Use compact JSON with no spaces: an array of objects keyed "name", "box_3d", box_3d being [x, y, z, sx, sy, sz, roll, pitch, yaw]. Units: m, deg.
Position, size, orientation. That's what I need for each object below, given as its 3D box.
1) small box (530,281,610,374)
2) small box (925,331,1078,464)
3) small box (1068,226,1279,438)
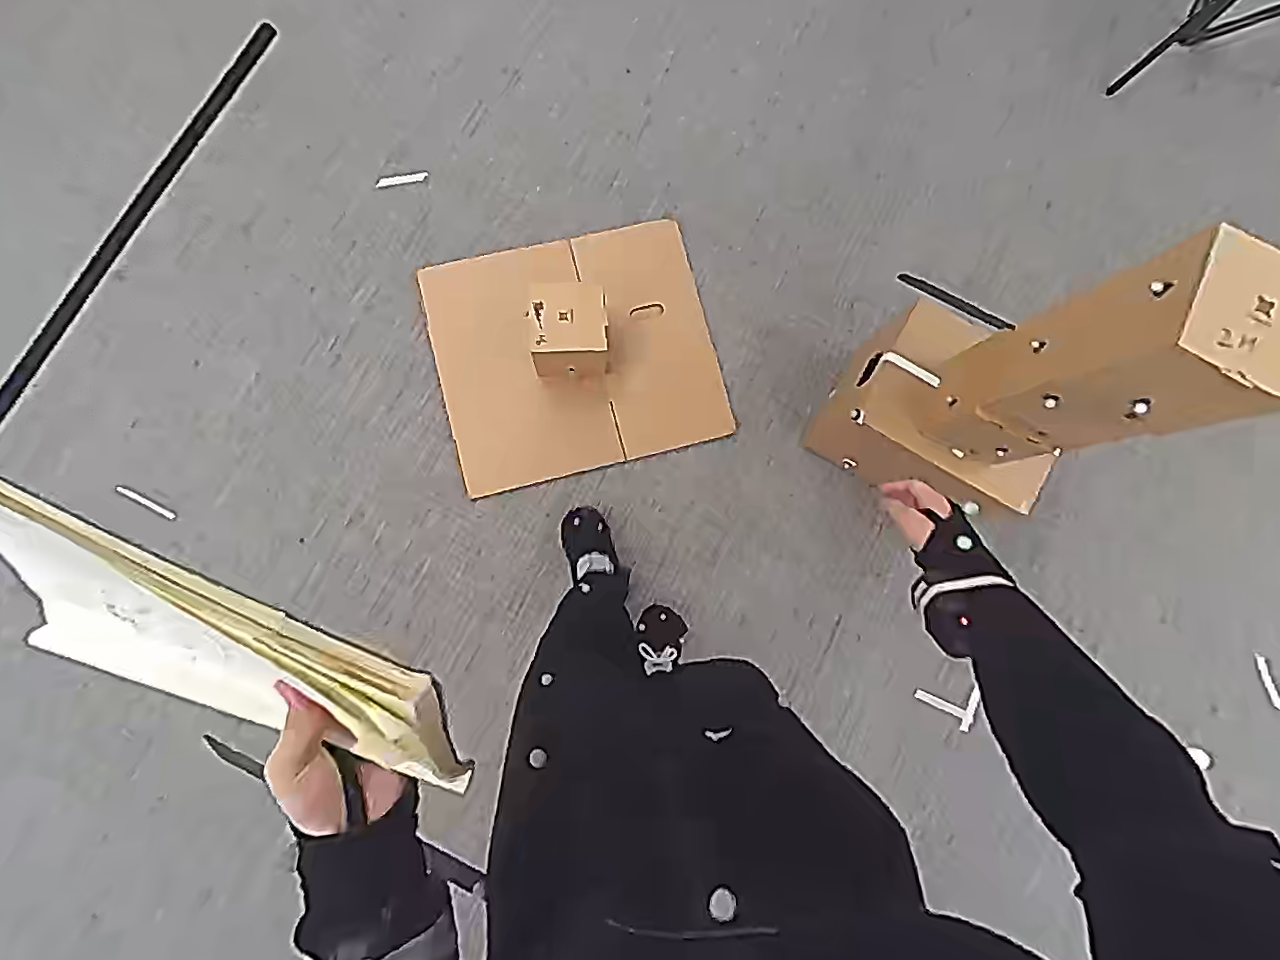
[{"name":"small box","box_3d":[-0.168,-0.359,1.294,0.179,0.176,0.168,-2,83,-7]},{"name":"small box","box_3d":[0.679,-0.144,1.025,0.168,0.176,0.179,25,82,-2]},{"name":"small box","box_3d":[0.711,-0.177,0.699,0.168,0.176,0.179,27,83,0]}]
